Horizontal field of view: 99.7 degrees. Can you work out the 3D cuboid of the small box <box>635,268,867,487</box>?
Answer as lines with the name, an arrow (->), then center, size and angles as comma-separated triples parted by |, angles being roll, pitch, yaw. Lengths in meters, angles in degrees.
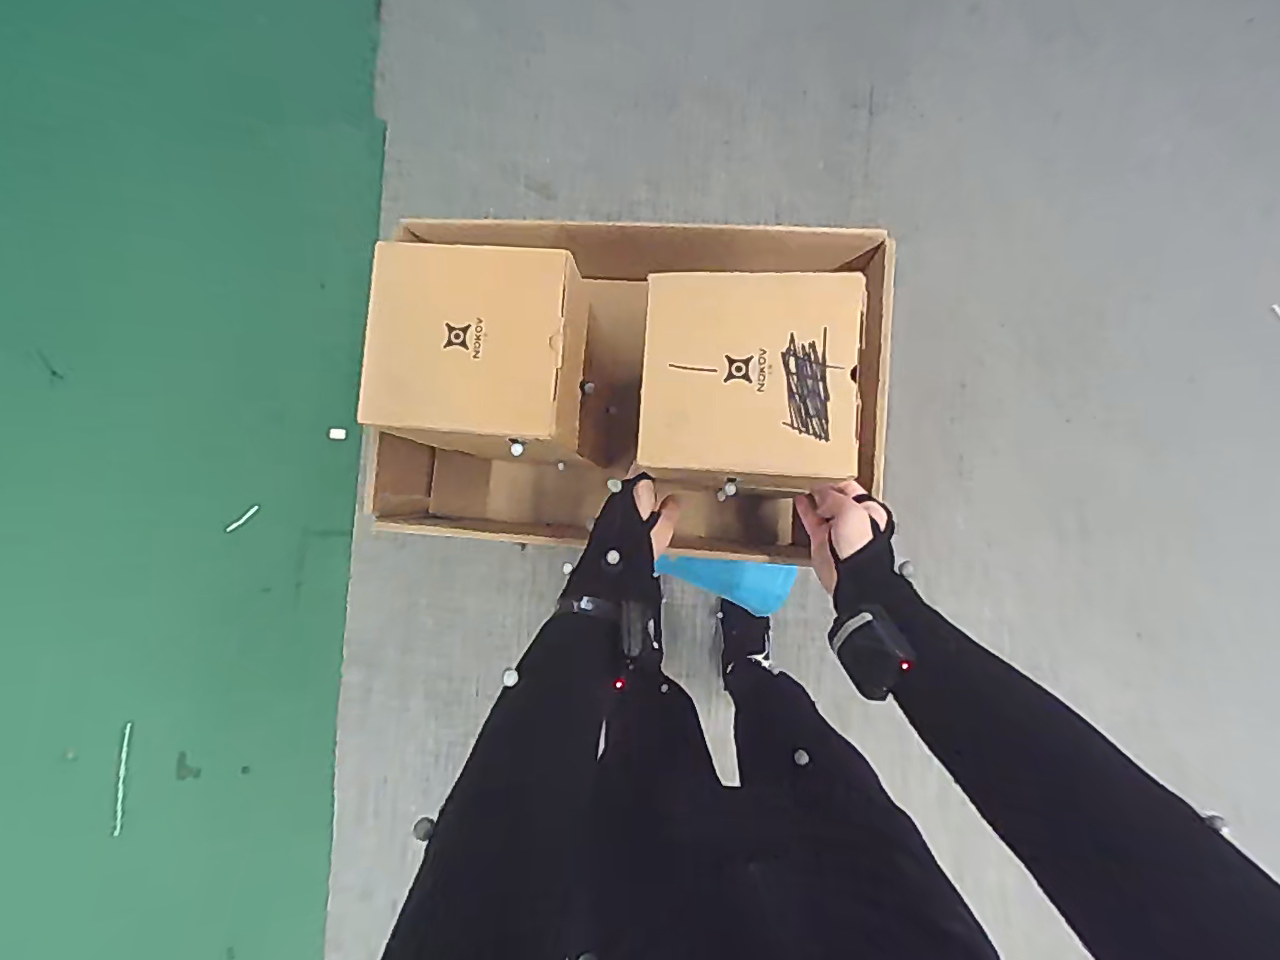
small box -> 0.098, -0.083, 0.511 | 0.179, 0.176, 0.168 | 3, 86, 9

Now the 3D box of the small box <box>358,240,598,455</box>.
small box -> -0.147, -0.120, 0.547 | 0.179, 0.176, 0.168 | 4, 86, 4

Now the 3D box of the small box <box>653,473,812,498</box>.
small box -> 0.119, -0.068, 0.673 | 0.179, 0.176, 0.168 | 5, 86, 8
